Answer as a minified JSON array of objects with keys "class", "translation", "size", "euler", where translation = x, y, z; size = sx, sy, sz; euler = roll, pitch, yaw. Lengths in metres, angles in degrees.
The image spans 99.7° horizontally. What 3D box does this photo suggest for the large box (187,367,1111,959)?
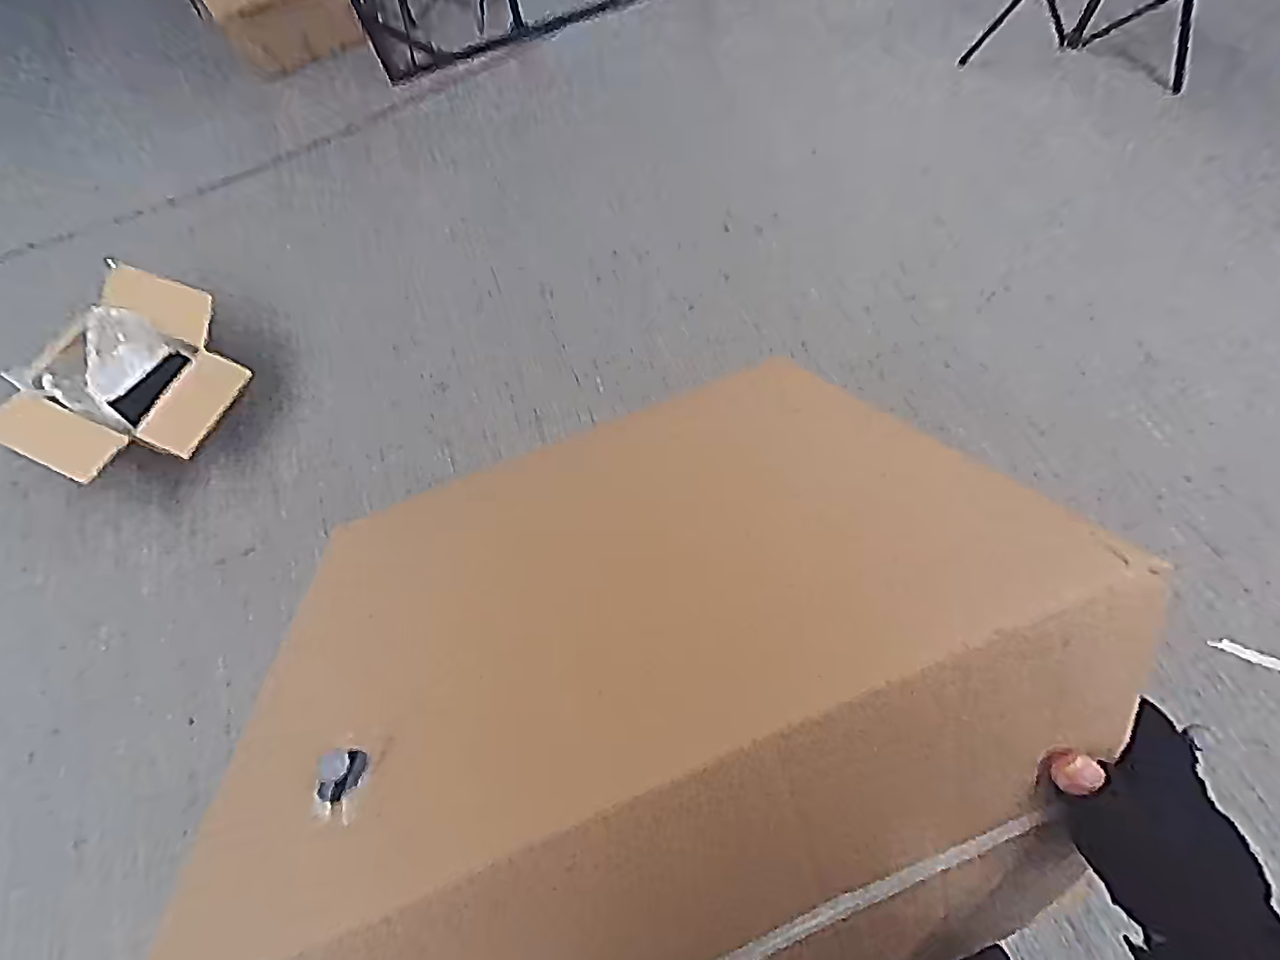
[{"class":"large box","translation":[0.020,0.157,0.412],"size":[0.408,0.320,0.320],"euler":[-22,31,-4]}]
